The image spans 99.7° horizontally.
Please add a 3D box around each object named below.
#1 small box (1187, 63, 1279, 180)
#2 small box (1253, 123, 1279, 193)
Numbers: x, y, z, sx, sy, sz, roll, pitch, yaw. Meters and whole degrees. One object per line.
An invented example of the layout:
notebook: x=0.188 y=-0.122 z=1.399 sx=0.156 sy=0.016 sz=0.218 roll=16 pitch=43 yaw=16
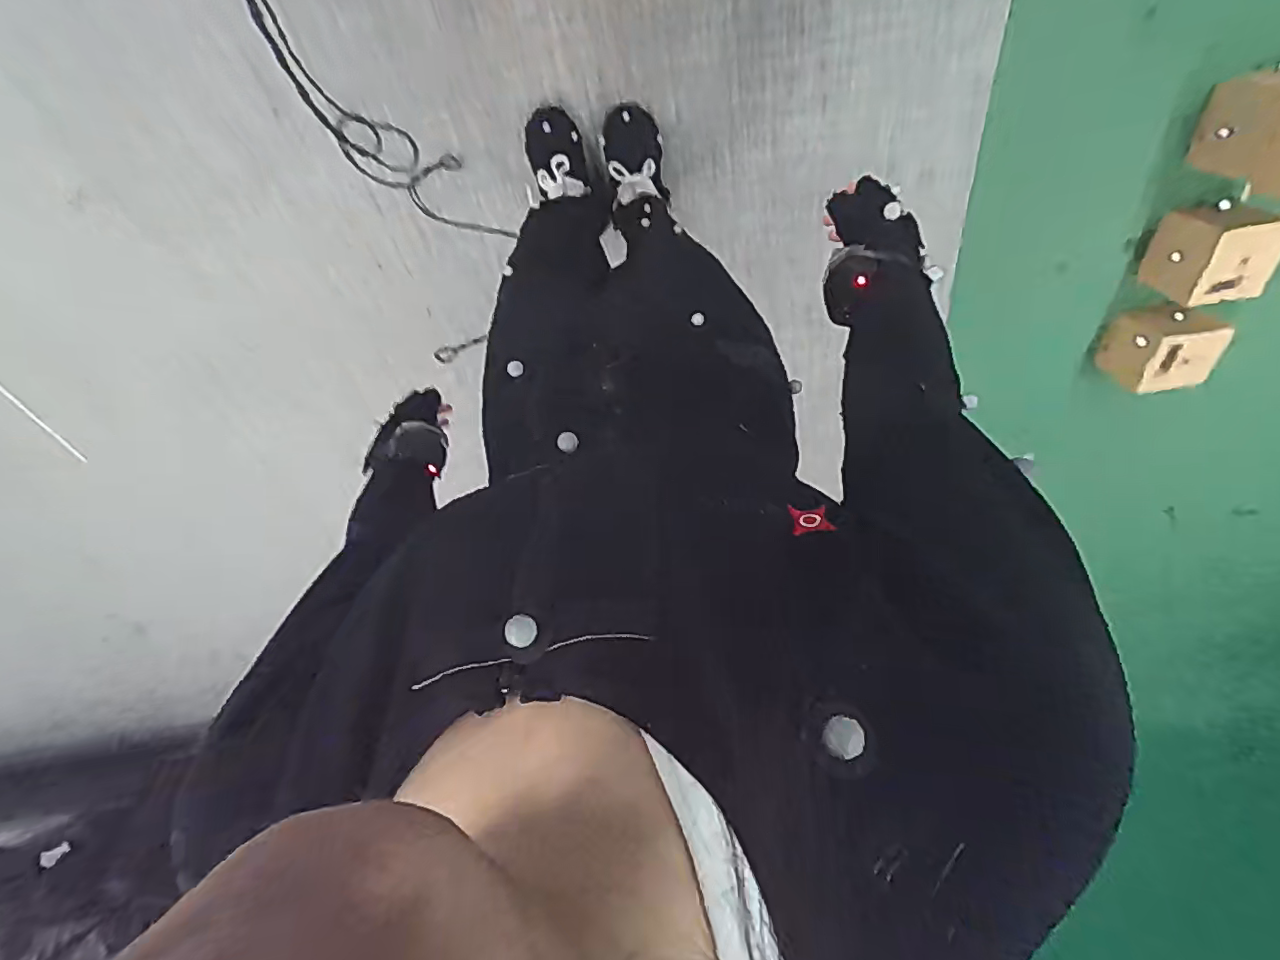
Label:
small box: x=1.300 y=-0.738 z=1.104 sx=0.179 sy=0.176 sz=0.168 roll=-10 pitch=132 yaw=6
small box: x=1.310 y=-0.626 z=0.986 sx=0.168 sy=0.176 sz=0.179 roll=-12 pitch=132 yaw=6
